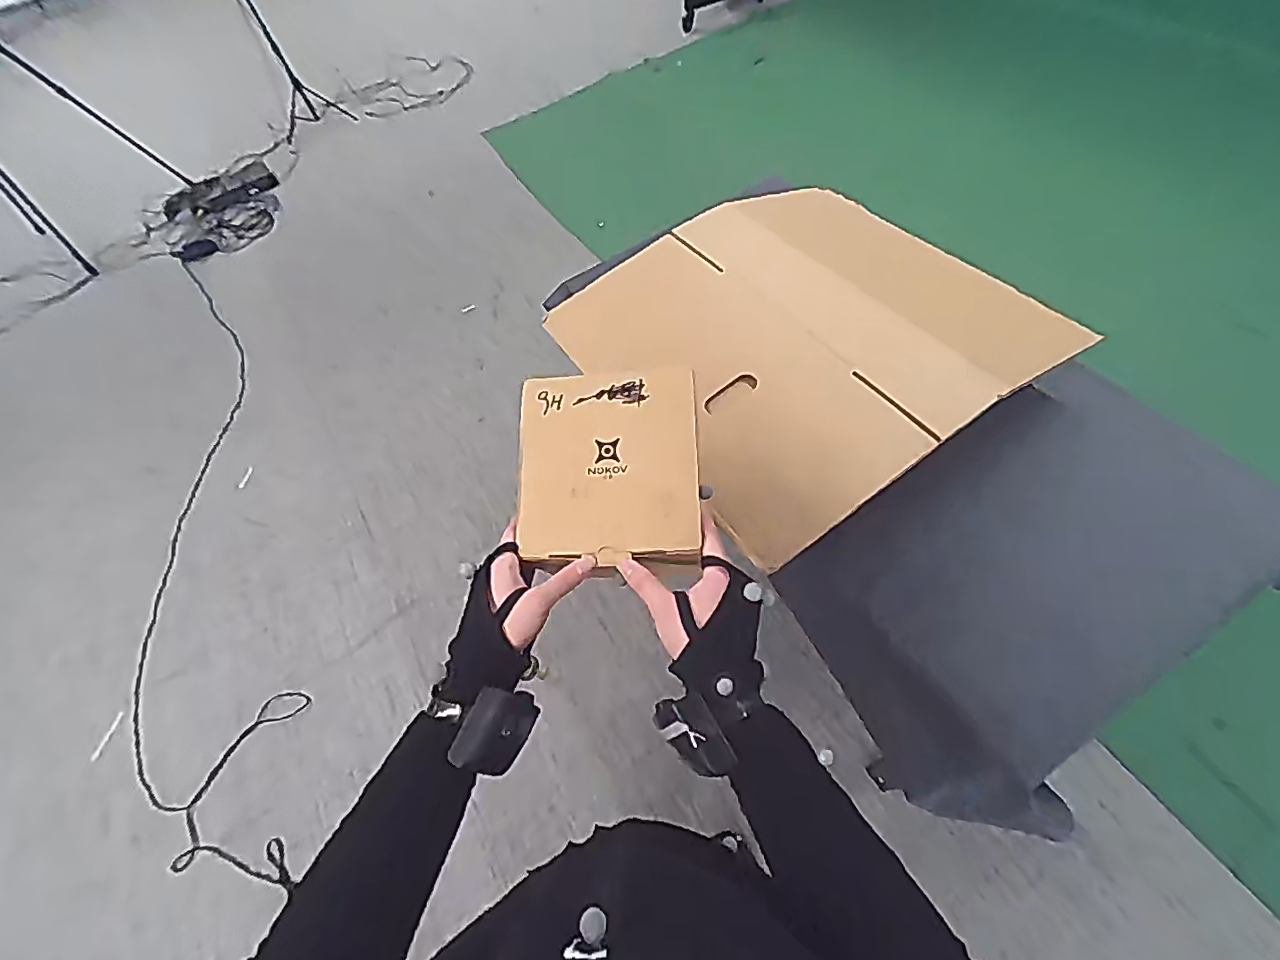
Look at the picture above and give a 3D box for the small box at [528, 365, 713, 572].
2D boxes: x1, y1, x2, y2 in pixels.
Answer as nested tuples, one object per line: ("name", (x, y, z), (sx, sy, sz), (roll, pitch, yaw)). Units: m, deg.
("small box", (-0.013, 0.002, 0.576), (0.168, 0.176, 0.179), (-6, 73, 7))
